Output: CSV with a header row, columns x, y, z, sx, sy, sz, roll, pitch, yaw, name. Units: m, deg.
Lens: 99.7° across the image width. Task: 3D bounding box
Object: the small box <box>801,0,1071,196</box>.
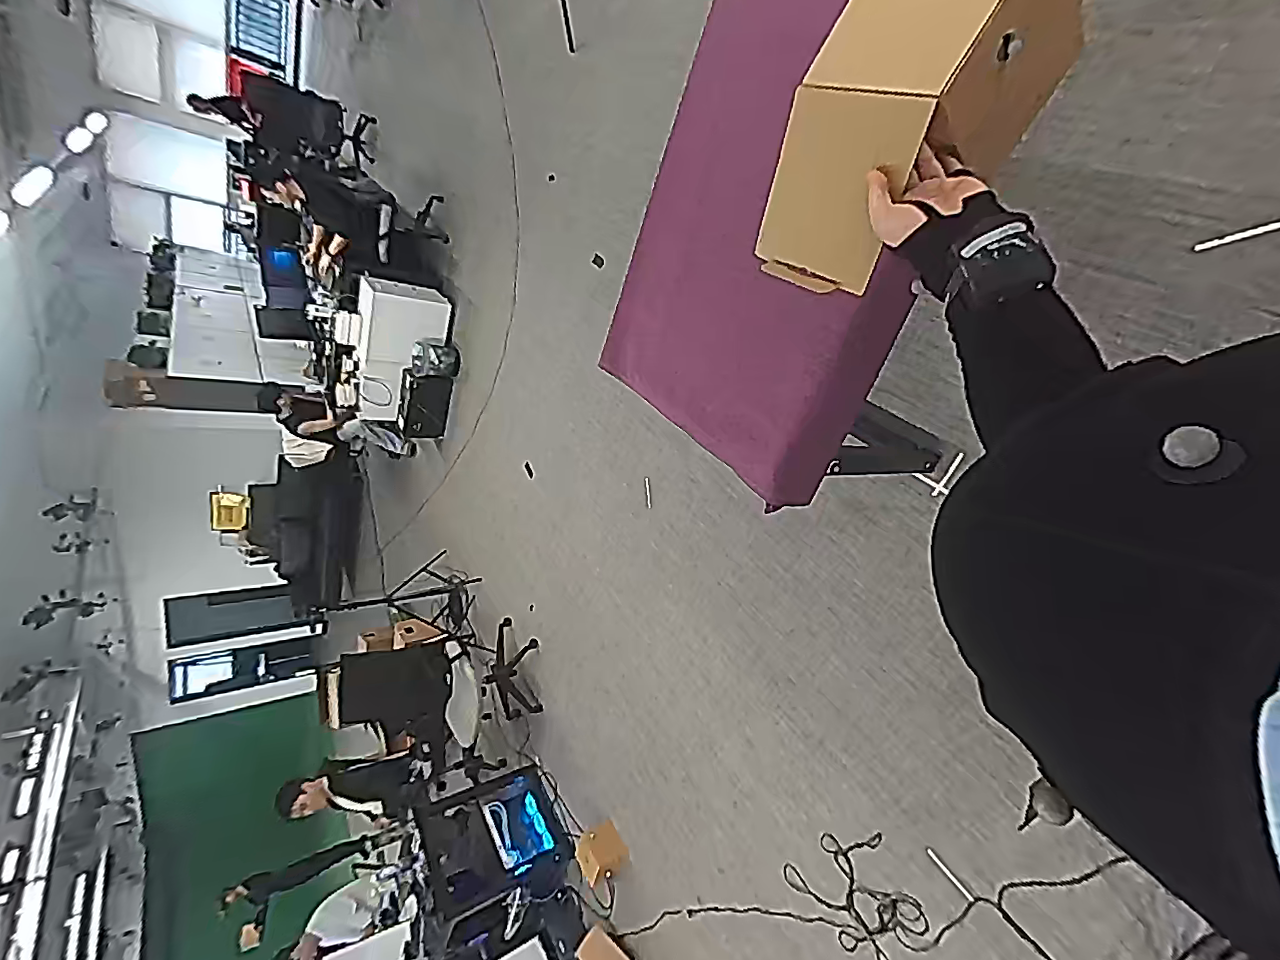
x,y,z,sx,sy,sz,roll,pitch,yaw,name
0.312,-0.433,0.567,0.168,0.176,0.179,43,108,40,small box
